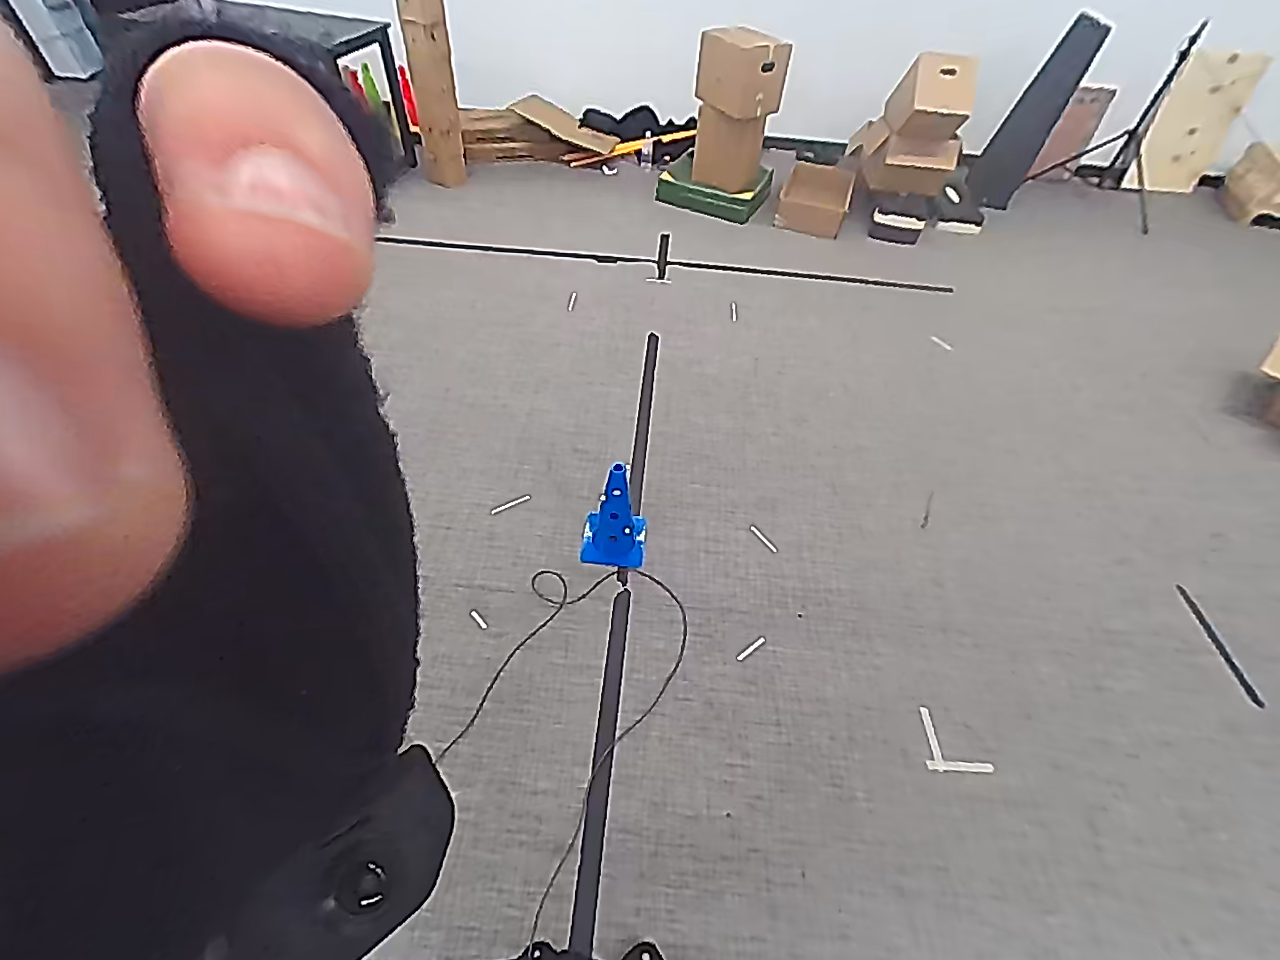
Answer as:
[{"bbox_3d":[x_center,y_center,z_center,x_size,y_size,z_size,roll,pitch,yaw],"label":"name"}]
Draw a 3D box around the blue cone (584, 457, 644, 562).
[{"bbox_3d":[-0.074,0.076,1.622,0.193,0.380,0.192,4,50,0],"label":"blue cone"}]
